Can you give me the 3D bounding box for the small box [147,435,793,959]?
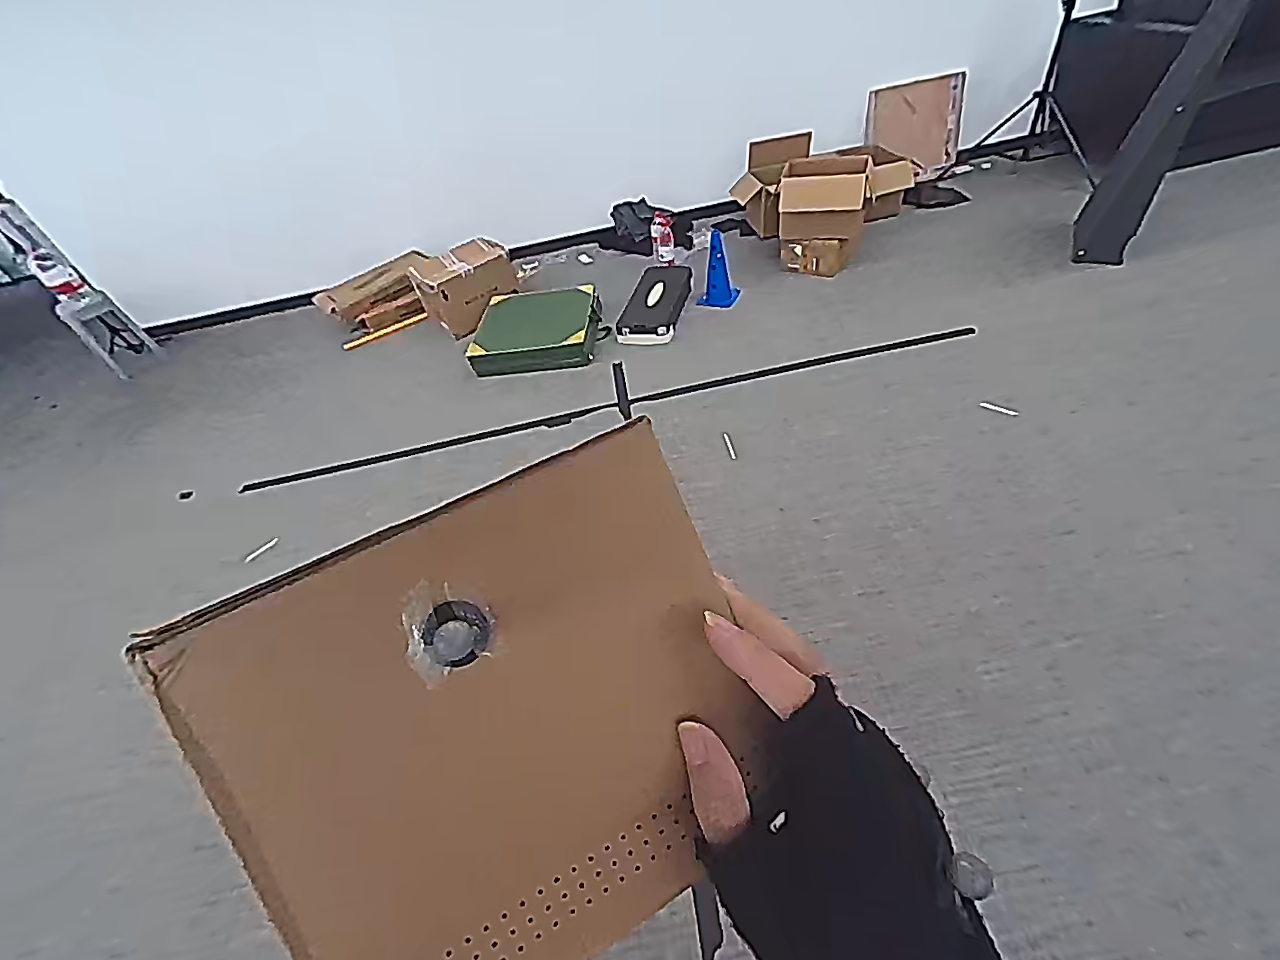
[{"bbox_3d":[-0.060,0.096,0.263,0.179,0.176,0.168,-25,5,-15],"label":"small box"}]
